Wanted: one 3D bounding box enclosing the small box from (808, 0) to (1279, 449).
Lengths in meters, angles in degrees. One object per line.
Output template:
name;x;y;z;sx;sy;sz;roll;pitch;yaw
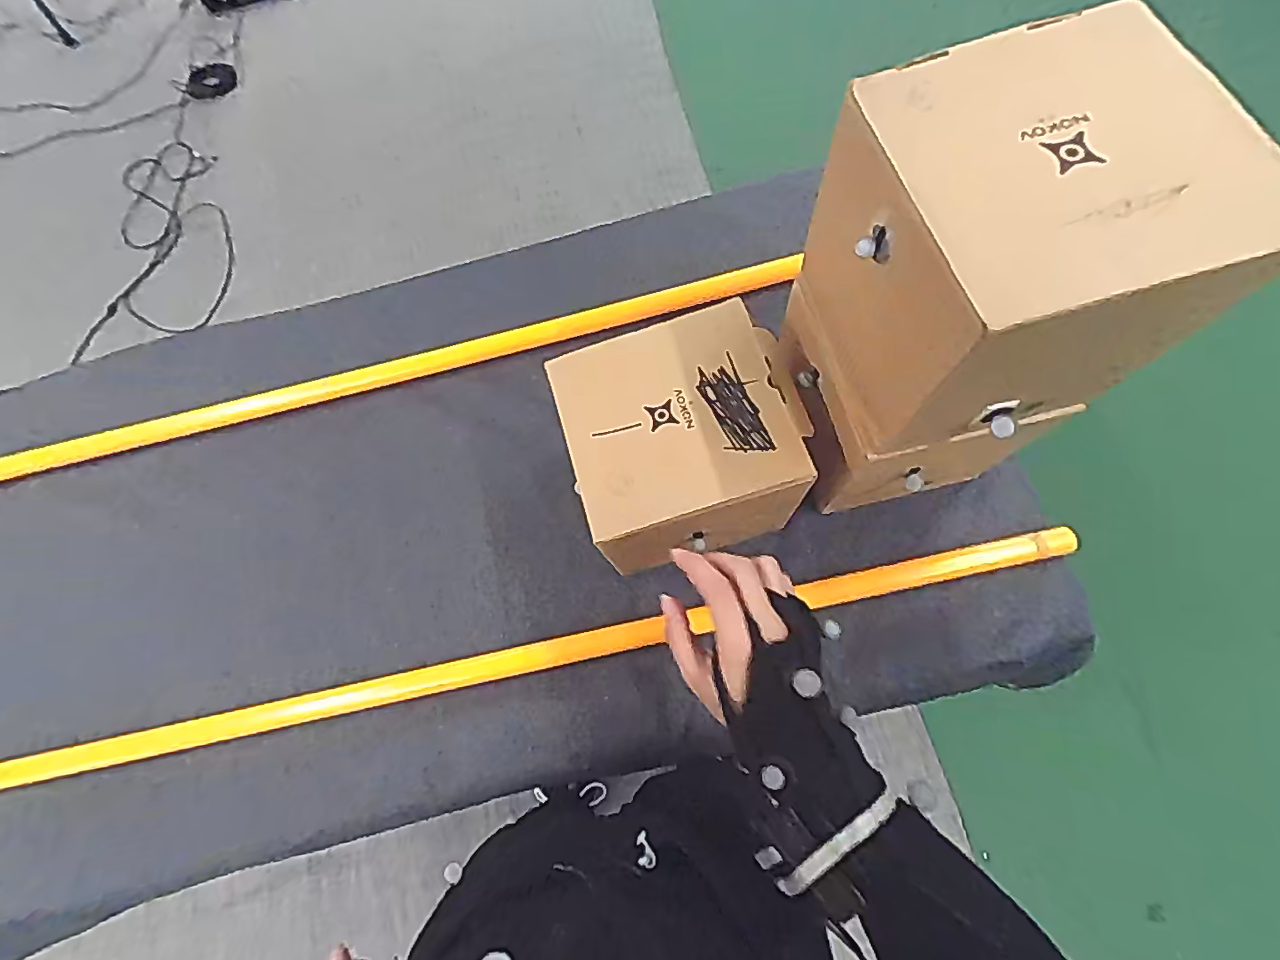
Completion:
small box;0.224;-0.144;0.350;0.168;0.176;0.179;-16;71;2

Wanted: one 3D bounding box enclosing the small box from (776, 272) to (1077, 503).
small box;0.237;-0.088;0.503;0.168;0.176;0.179;-14;70;2

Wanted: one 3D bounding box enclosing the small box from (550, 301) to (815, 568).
small box;0.035;-0.028;0.502;0.179;0.176;0.168;-17;70;1
